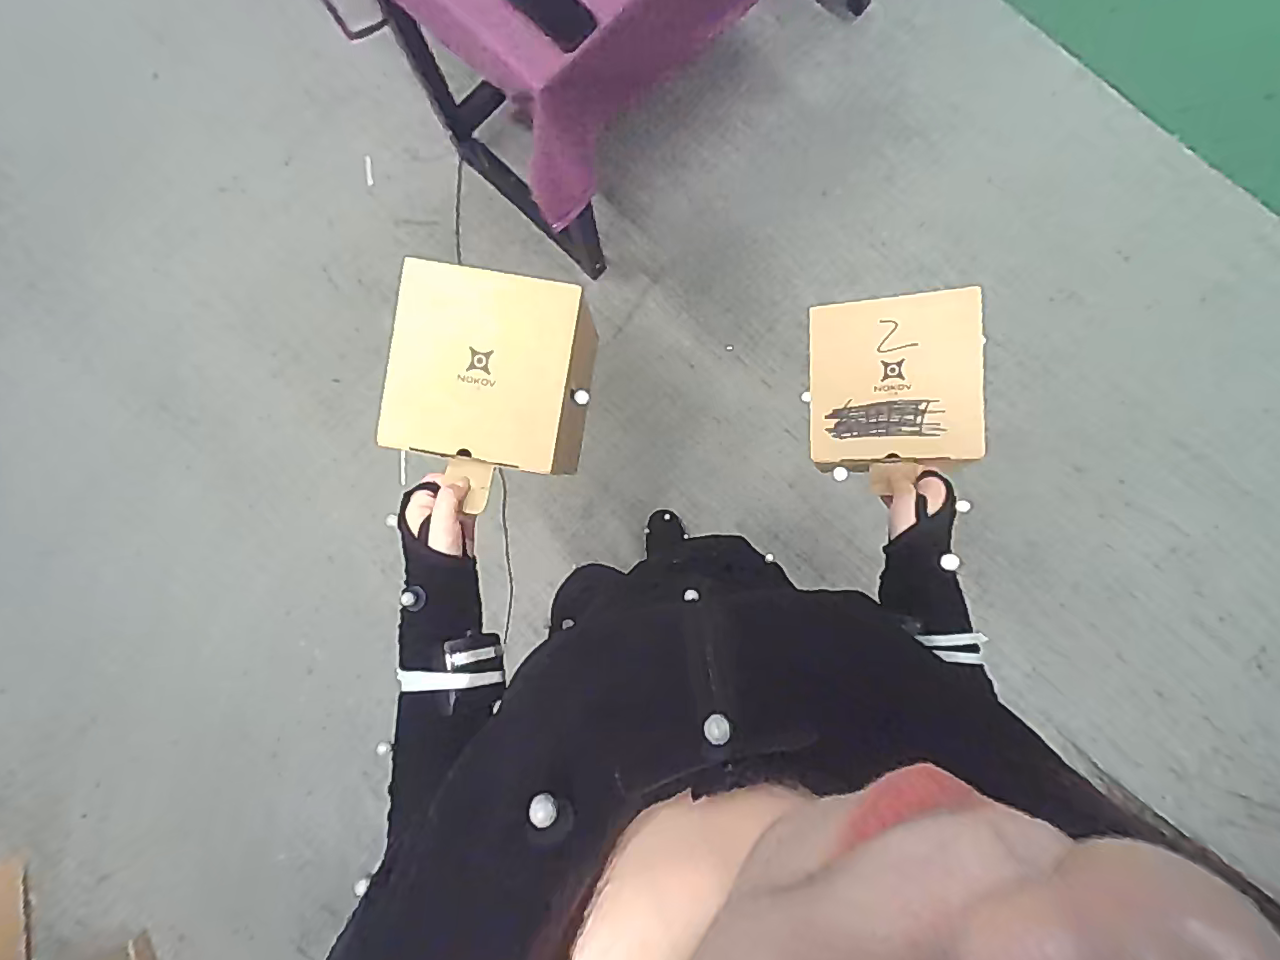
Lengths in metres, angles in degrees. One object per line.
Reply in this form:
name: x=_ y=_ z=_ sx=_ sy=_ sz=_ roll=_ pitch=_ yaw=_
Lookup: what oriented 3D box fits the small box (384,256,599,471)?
small box: x=-0.142 y=-0.110 z=0.580 sx=0.168 sy=0.176 sz=0.179 roll=10 pitch=92 yaw=1
